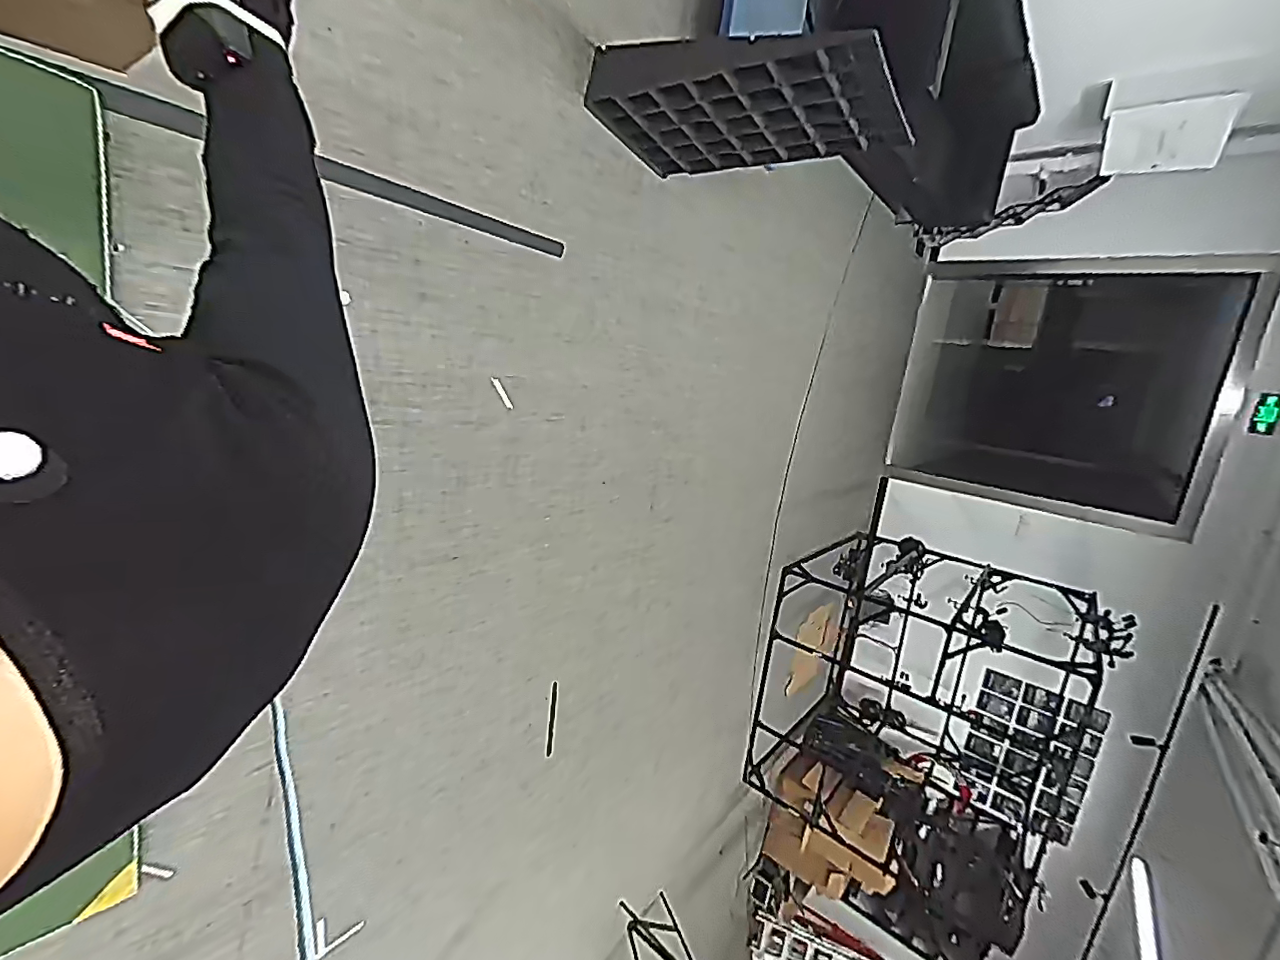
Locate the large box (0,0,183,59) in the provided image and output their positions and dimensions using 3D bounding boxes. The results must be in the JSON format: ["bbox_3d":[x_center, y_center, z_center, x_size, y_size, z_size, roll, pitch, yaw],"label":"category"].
[{"bbox_3d":[-0.566,-0.524,0.309,0.408,0.320,0.320,-13,118,-50],"label":"large box"}]
